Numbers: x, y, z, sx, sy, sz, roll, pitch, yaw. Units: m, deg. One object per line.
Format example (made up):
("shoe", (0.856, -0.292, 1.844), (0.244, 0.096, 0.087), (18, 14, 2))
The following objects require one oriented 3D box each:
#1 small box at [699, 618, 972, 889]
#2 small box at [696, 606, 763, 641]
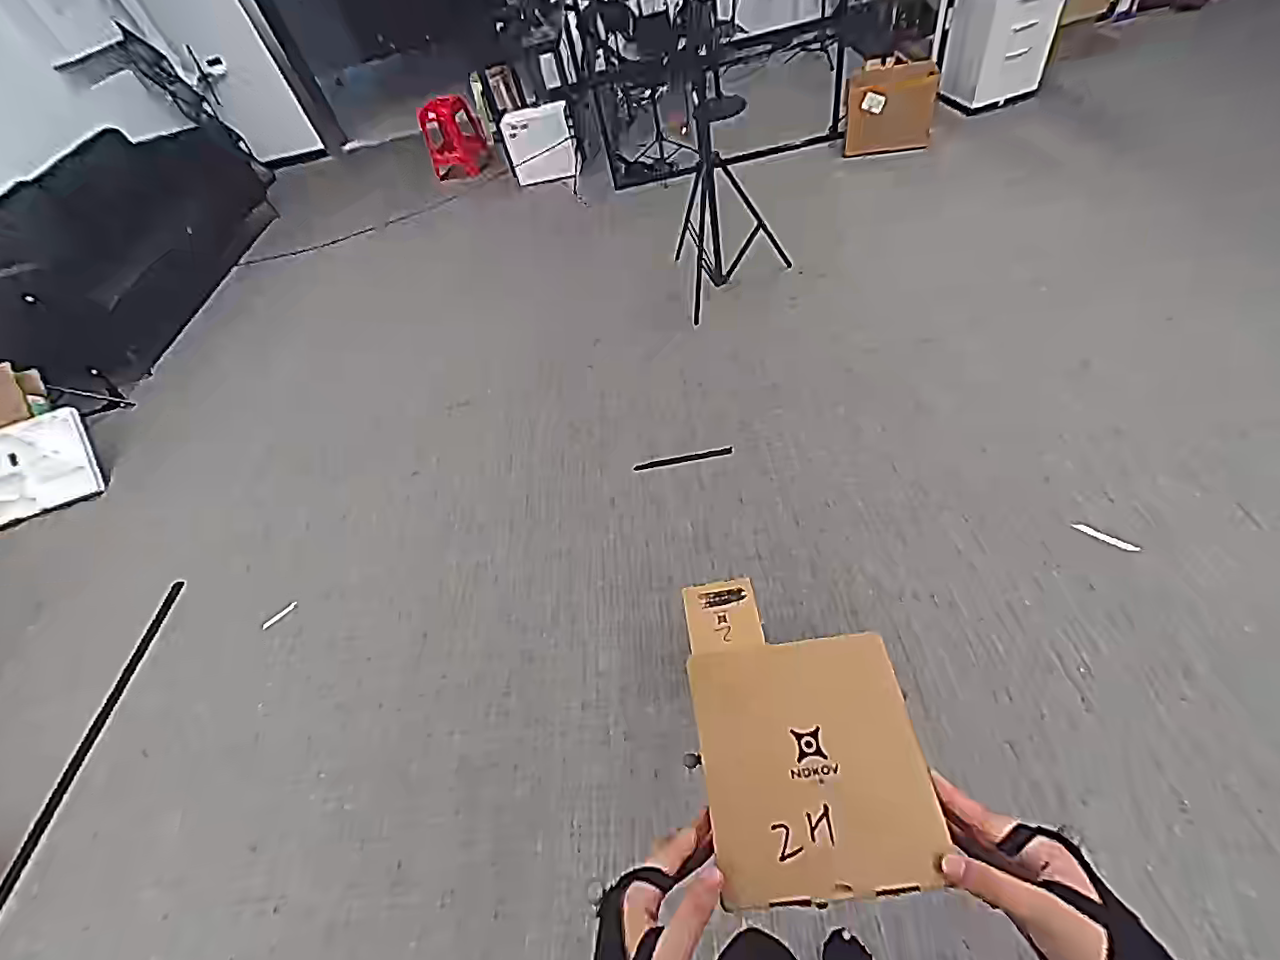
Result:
("small box", (0.144, 0.241, 0.479), (0.168, 0.176, 0.179), (-8, 57, 3))
("small box", (0.246, 0.456, 1.421), (0.168, 0.176, 0.179), (-10, 50, 6))
